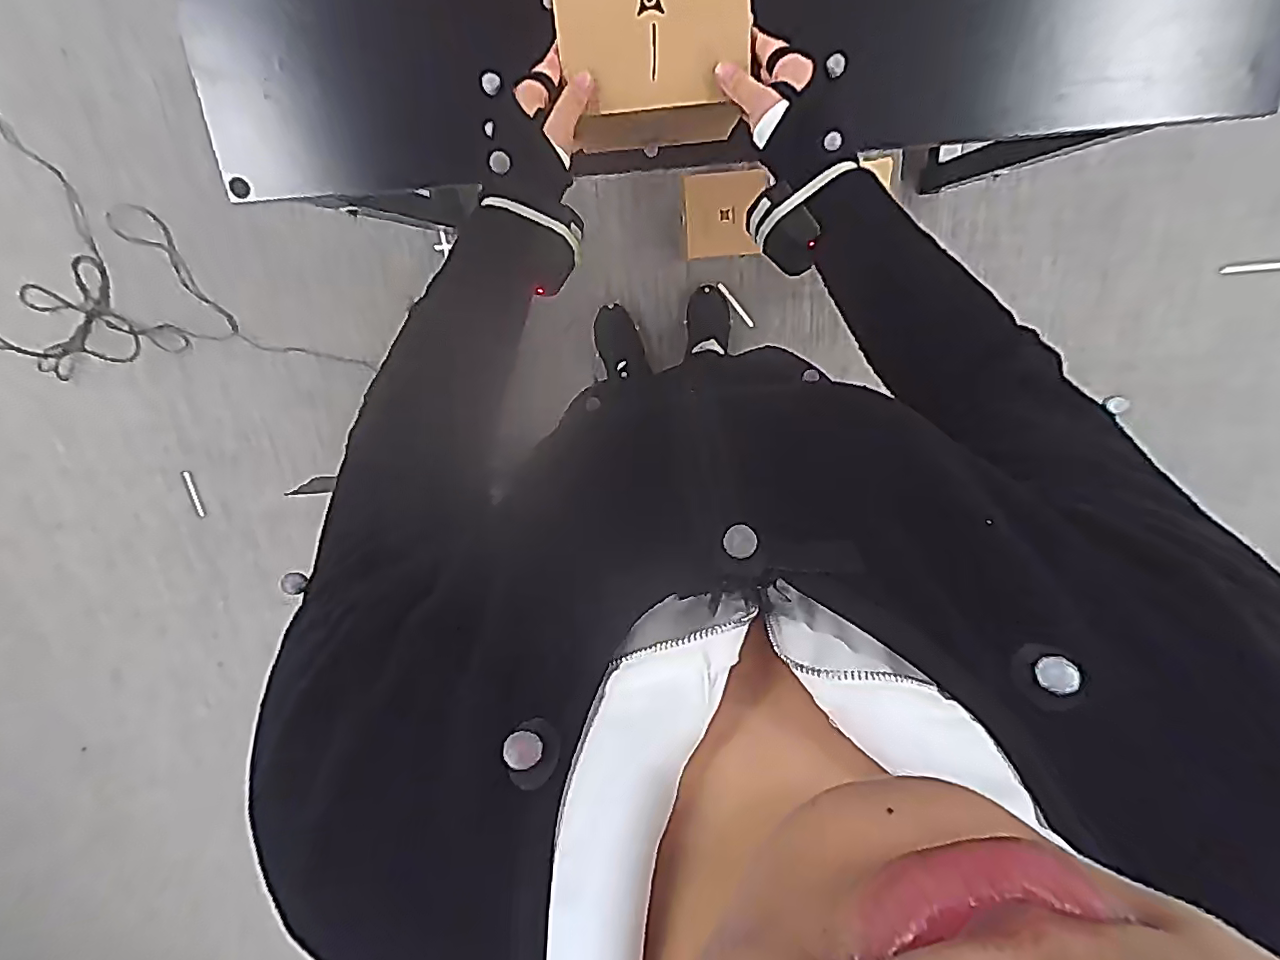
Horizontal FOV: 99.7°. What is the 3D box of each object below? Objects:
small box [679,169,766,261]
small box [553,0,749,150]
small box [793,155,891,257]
[{"bbox_3d":[0.185,-0.598,1.236,0.179,0.176,0.168,-4,109,3],"label":"small box"},{"bbox_3d":[0.009,-0.438,0.516,0.168,0.176,0.179,-4,112,3],"label":"small box"},{"bbox_3d":[0.448,-0.611,1.225,0.168,0.176,0.179,-5,110,3],"label":"small box"}]
